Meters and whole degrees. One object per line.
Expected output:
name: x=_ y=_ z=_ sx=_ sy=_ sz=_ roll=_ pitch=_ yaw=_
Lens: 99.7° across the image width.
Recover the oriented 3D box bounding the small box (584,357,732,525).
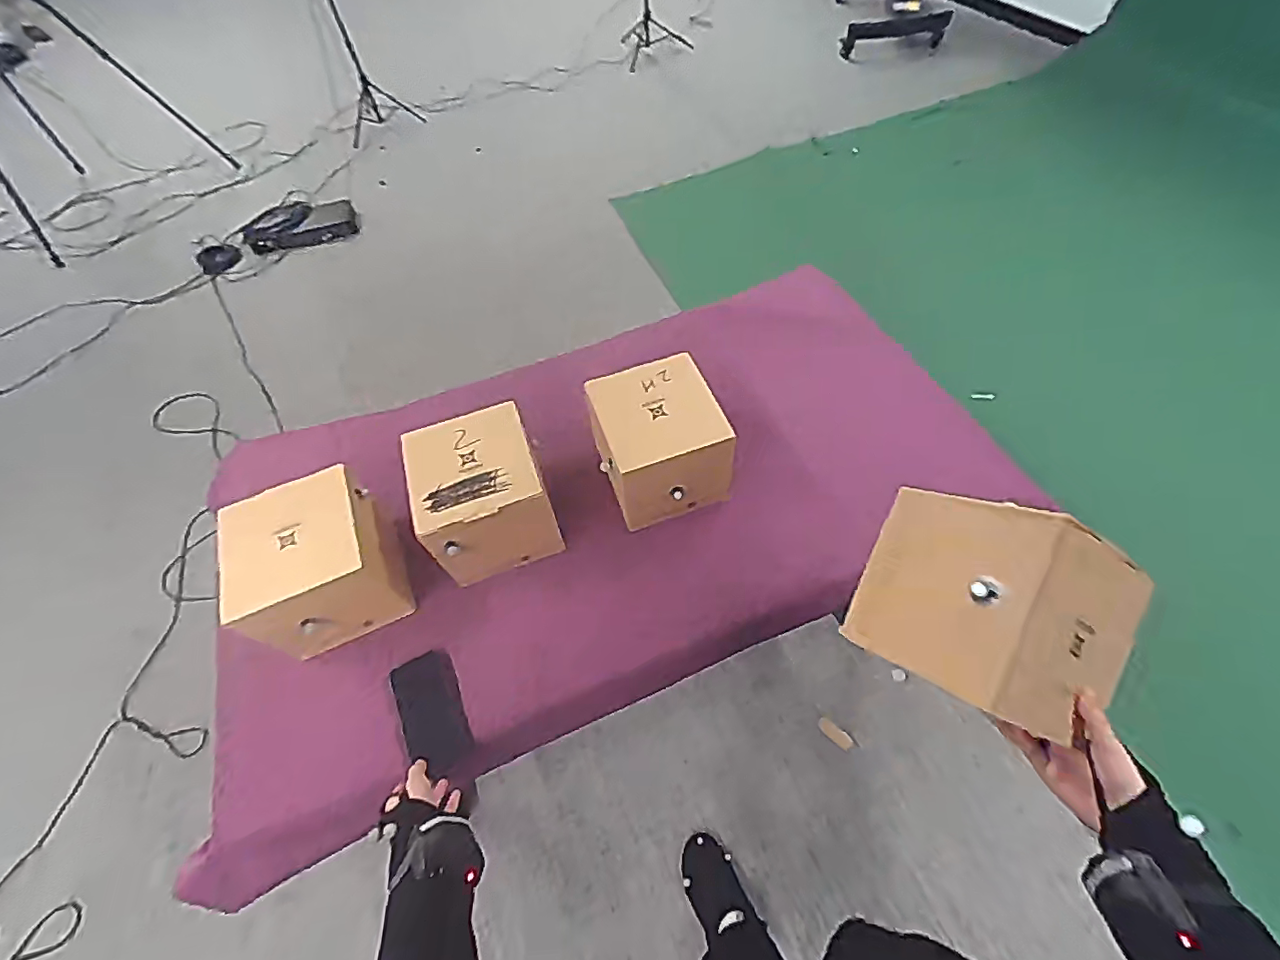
small box: x=0.026 y=-0.050 z=0.819 sx=0.168 sy=0.176 sz=0.179 roll=-18 pitch=57 yaw=-8

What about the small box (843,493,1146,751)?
small box: x=0.337 y=0.125 z=0.535 sx=0.168 sy=0.176 sz=0.179 roll=28 pitch=85 yaw=-23

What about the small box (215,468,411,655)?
small box: x=-0.438 y=0.121 z=0.742 sx=0.168 sy=0.176 sz=0.179 roll=-23 pitch=57 yaw=-11
